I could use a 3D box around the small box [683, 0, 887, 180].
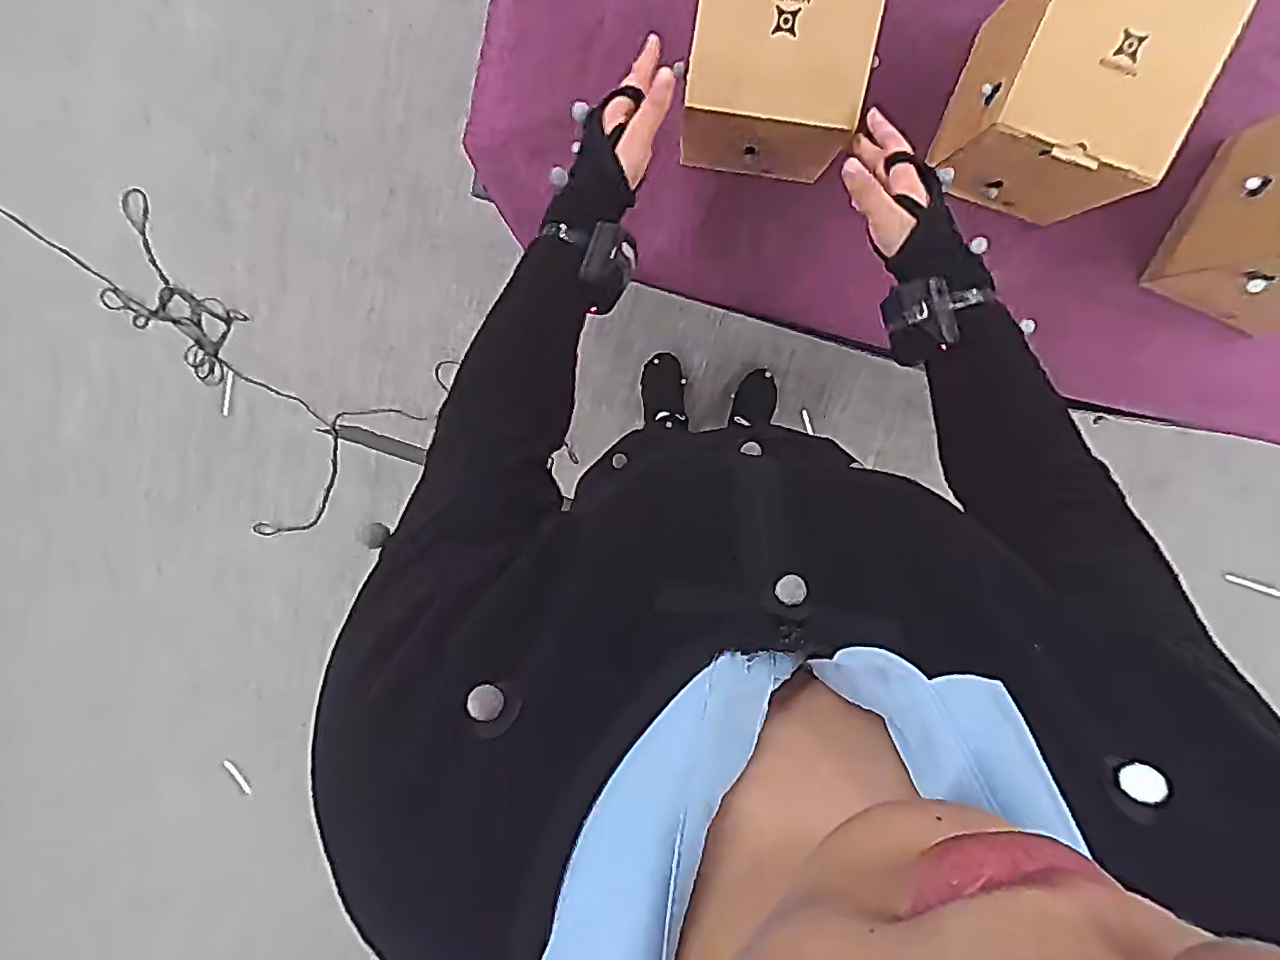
[{"bbox_3d":[0.140,-0.437,0.563,0.168,0.176,0.179,9,103,1],"label":"small box"}]

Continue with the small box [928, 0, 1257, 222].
[{"bbox_3d":[0.436,-0.396,0.556,0.168,0.176,0.179,19,104,-1],"label":"small box"}]
